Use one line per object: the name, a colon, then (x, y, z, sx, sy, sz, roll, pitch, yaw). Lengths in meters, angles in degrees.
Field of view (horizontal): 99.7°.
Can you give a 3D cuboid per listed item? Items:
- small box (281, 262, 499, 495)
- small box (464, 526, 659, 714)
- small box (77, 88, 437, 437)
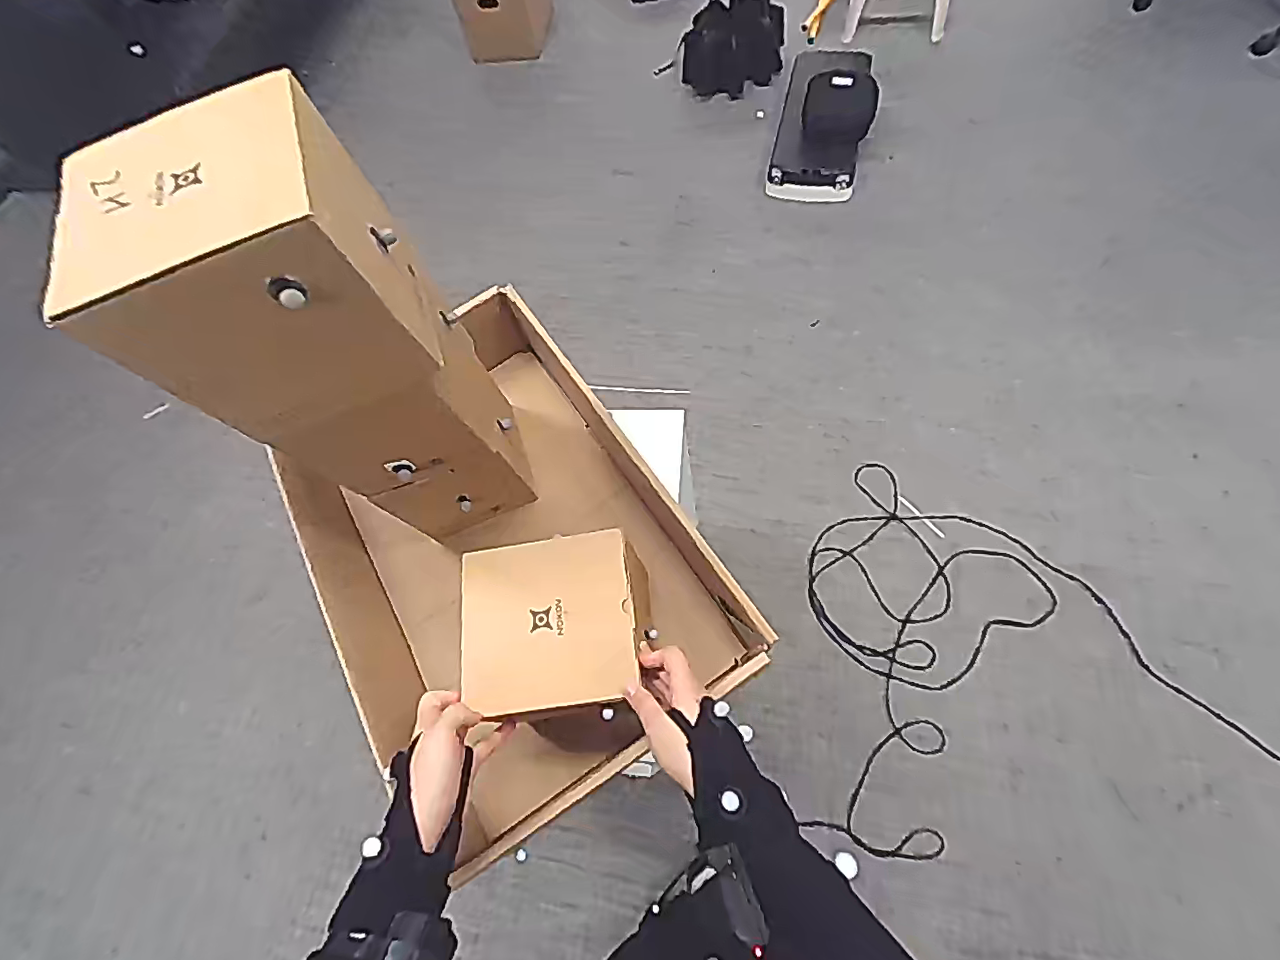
small box: (-0.277, -0.109, 0.602, 0.168, 0.176, 0.179, -20, 66, 2)
small box: (-0.082, 0.168, 0.614, 0.179, 0.176, 0.168, -9, 66, 3)
small box: (-0.289, -0.164, 0.446, 0.179, 0.176, 0.168, -23, 65, 1)
